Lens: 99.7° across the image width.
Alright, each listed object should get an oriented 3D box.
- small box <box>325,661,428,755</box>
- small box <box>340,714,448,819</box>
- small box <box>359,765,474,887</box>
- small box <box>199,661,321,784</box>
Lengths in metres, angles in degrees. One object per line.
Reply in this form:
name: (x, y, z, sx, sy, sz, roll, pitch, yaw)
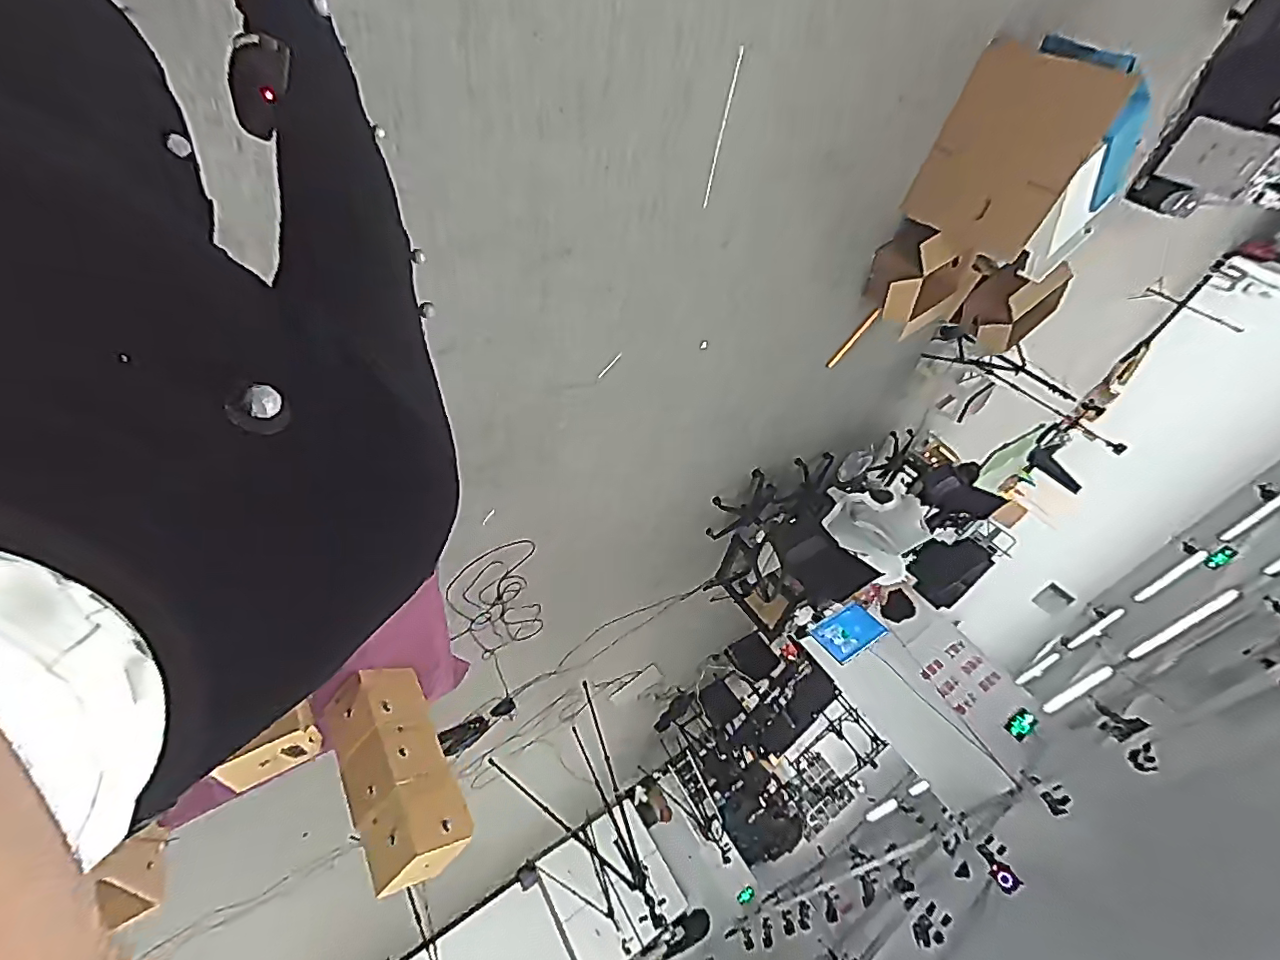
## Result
small box: (-0.727, 0.617, 1.484, 0.168, 0.176, 0.179, -46, 148, 11)
small box: (-0.642, 0.727, 1.400, 0.179, 0.176, 0.168, -47, 147, 10)
small box: (-0.548, 0.831, 1.319, 0.168, 0.176, 0.179, -48, 147, 11)
small box: (-0.871, 0.550, 1.242, 0.179, 0.176, 0.168, -22, 145, -28)
